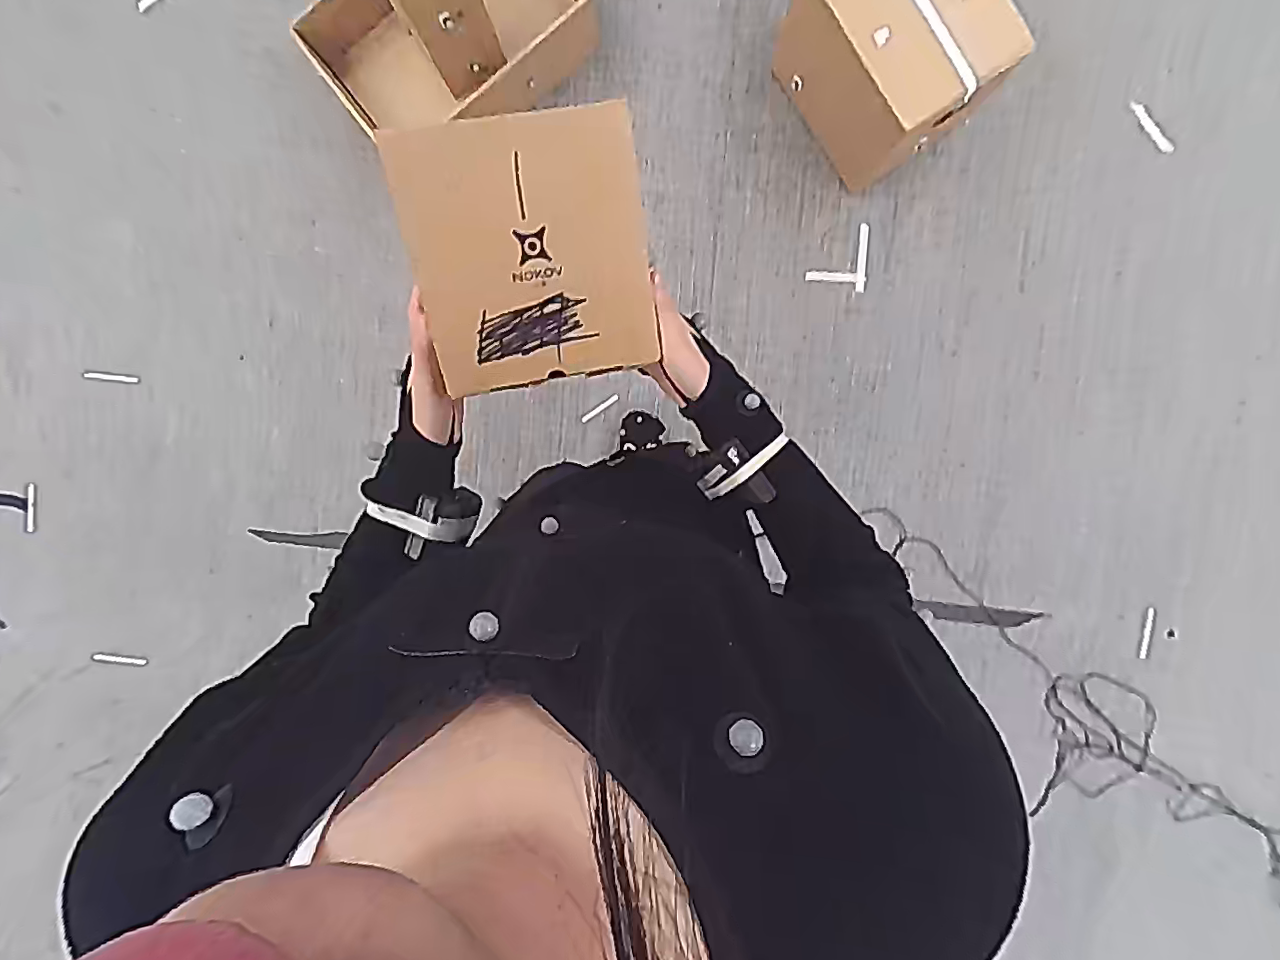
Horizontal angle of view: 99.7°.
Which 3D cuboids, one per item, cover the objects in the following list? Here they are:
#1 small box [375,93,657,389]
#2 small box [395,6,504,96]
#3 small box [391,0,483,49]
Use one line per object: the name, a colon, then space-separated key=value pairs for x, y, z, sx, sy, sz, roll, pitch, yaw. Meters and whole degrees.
small box: x=-0.090 y=-0.190 z=0.451 sx=0.168 sy=0.176 sz=0.179 roll=-12 pitch=113 yaw=-7
small box: x=-0.456 y=-1.079 z=1.288 sx=0.168 sy=0.176 sz=0.179 roll=-35 pitch=92 yaw=4
small box: x=-0.461 y=-1.070 z=1.126 sx=0.168 sy=0.176 sz=0.179 roll=-36 pitch=93 yaw=4
